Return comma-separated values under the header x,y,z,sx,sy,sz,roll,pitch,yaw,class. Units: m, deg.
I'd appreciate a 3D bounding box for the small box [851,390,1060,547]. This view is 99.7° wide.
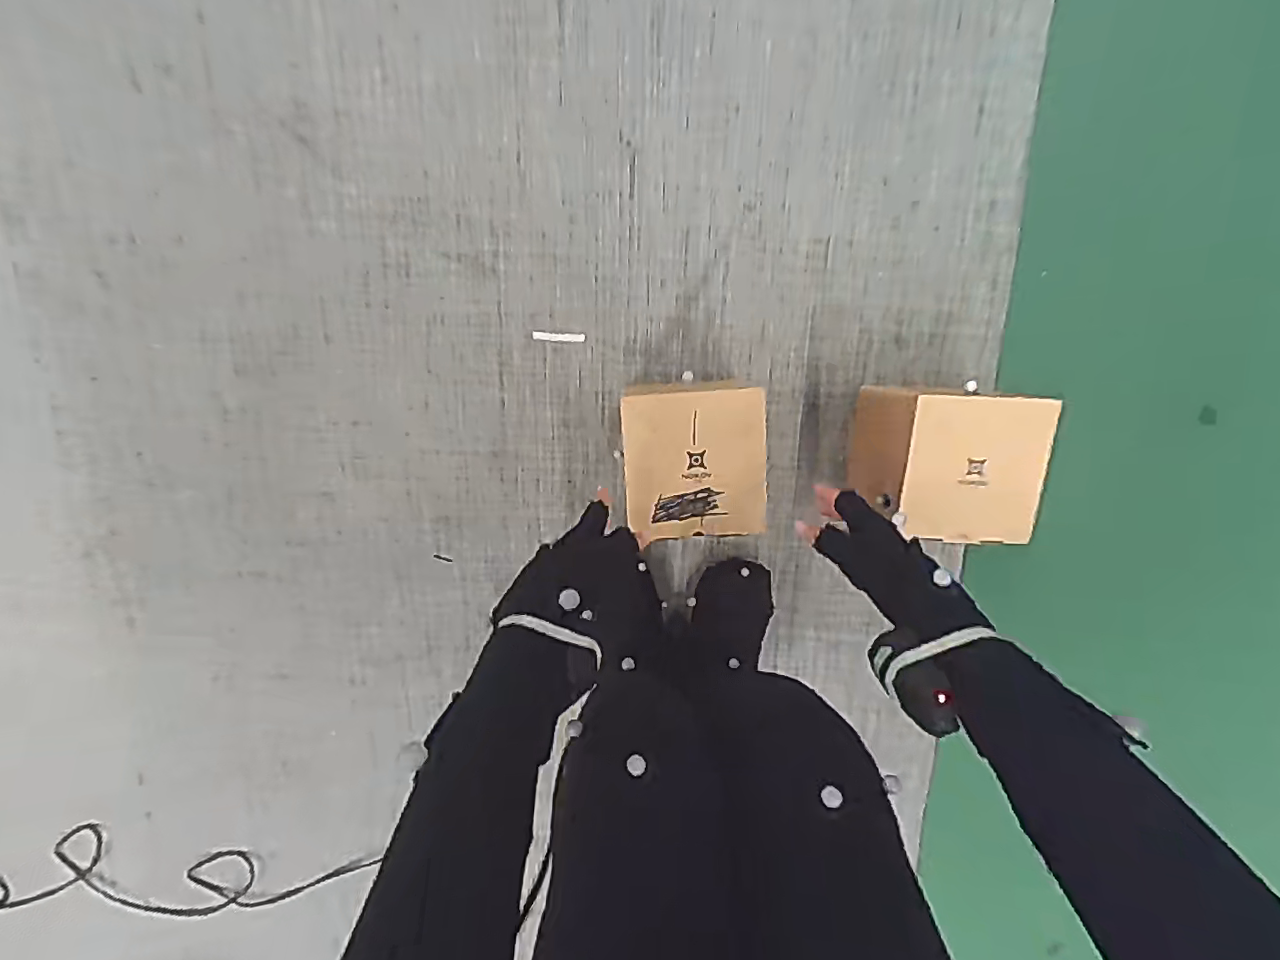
x,y,z,sx,sy,sz,roll,pitch,yaw,class
0.395,-0.024,0.712,0.168,0.176,0.179,2,103,0,small box

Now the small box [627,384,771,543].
x,y,z,sx,sy,sz,roll,pitch,yaw,class
0.071,-0.030,0.708,0.168,0.176,0.179,-3,103,0,small box
